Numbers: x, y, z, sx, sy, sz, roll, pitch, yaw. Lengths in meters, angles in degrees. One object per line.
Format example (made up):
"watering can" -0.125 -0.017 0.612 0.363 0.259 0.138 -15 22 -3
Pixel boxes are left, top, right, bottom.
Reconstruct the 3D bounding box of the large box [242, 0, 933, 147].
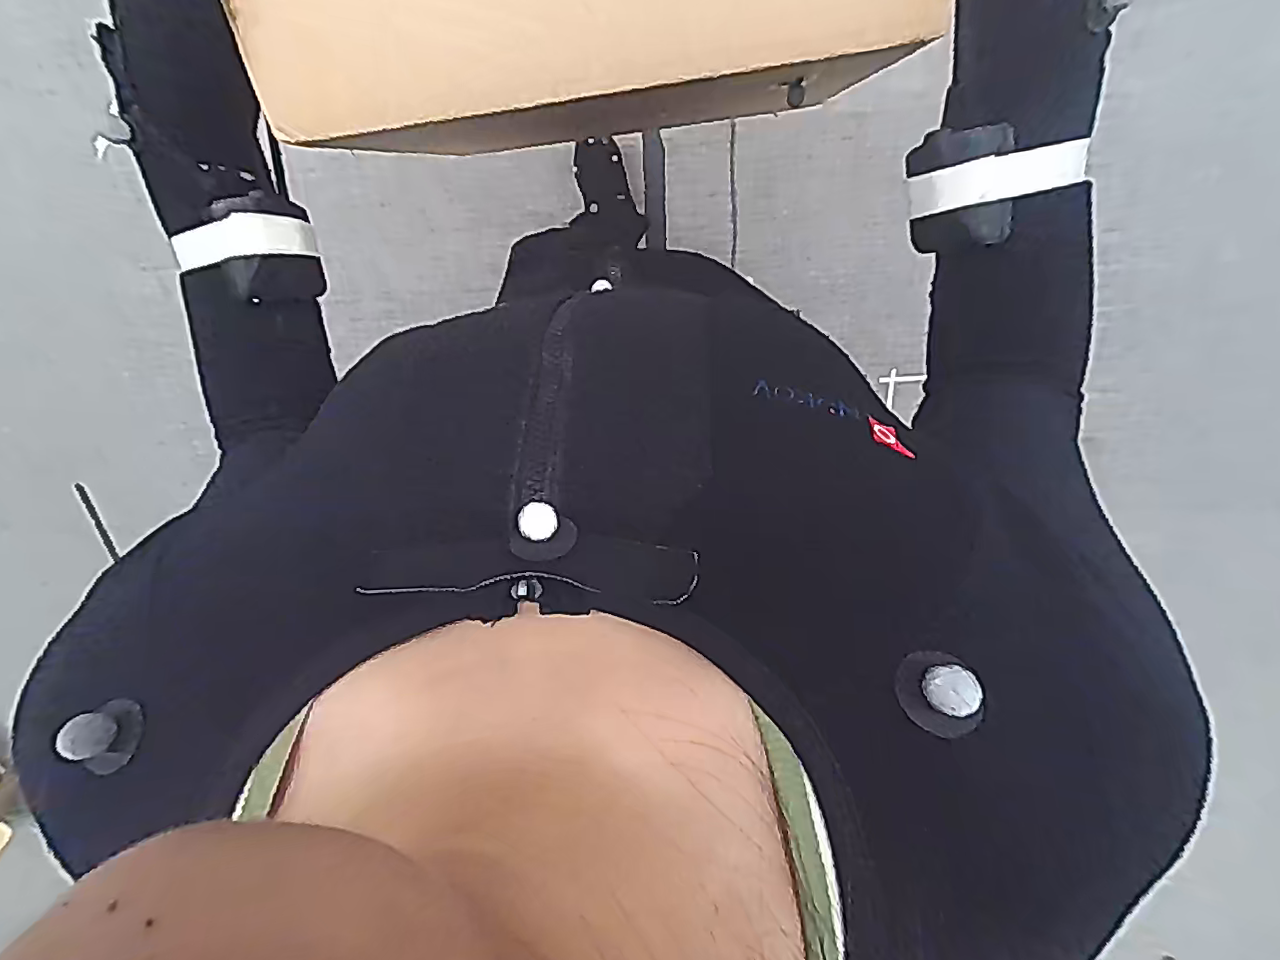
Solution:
"large box" -0.039 -0.445 0.385 0.408 0.320 0.320 -4 119 6
